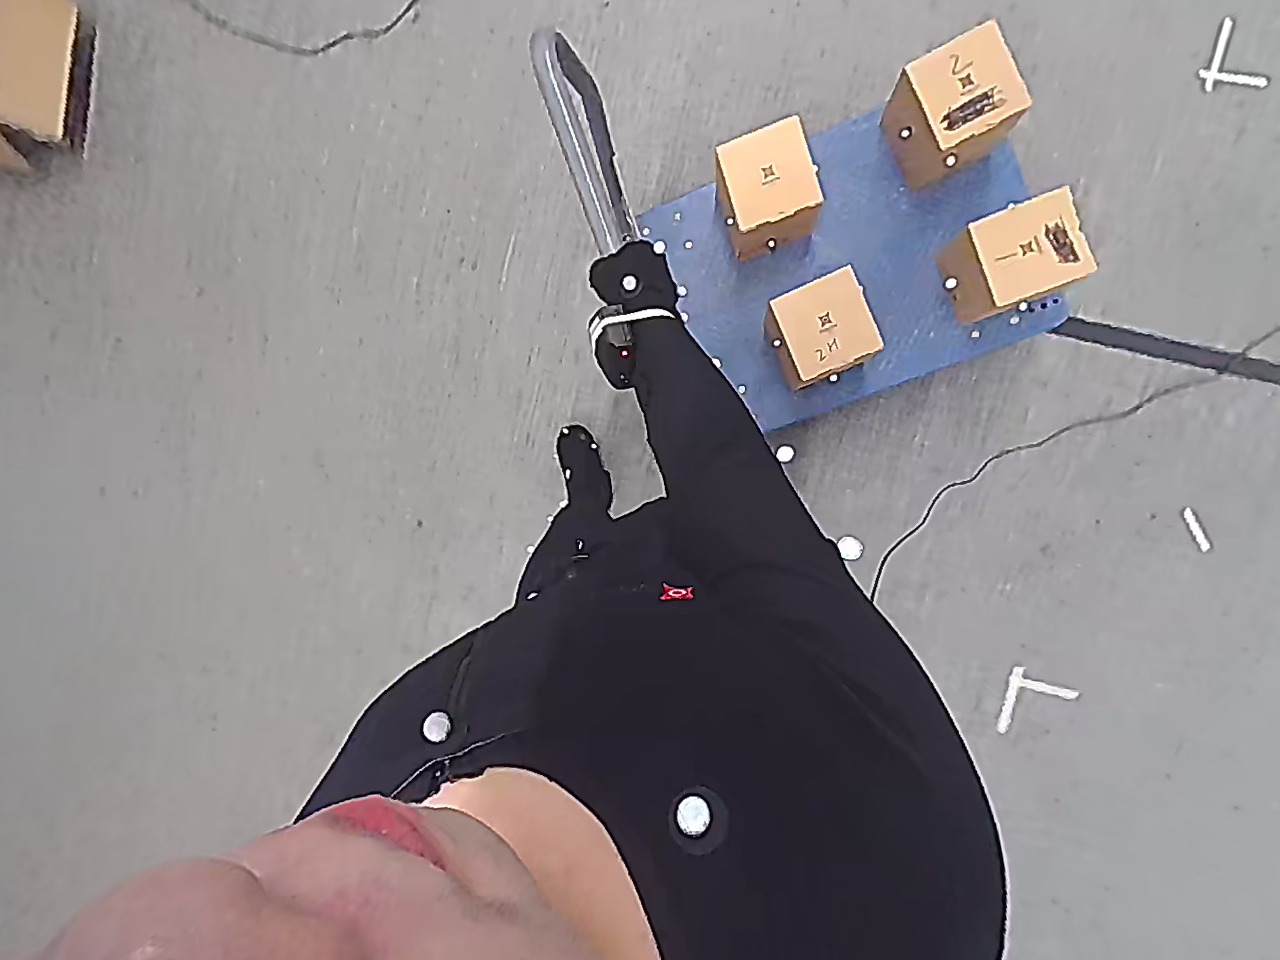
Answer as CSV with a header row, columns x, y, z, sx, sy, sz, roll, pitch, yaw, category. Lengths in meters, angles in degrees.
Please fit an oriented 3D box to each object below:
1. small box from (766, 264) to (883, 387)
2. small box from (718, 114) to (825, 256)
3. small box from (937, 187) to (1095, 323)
x,y,z,sx,sy,sz,roll,pitch,yaw,category
0.372,-0.310,1.123,0.168,0.176,0.179,-22,90,10,small box
0.263,-0.599,1.122,0.168,0.176,0.179,-18,92,9,small box
0.724,-0.428,1.060,0.179,0.176,0.168,-19,90,11,small box
